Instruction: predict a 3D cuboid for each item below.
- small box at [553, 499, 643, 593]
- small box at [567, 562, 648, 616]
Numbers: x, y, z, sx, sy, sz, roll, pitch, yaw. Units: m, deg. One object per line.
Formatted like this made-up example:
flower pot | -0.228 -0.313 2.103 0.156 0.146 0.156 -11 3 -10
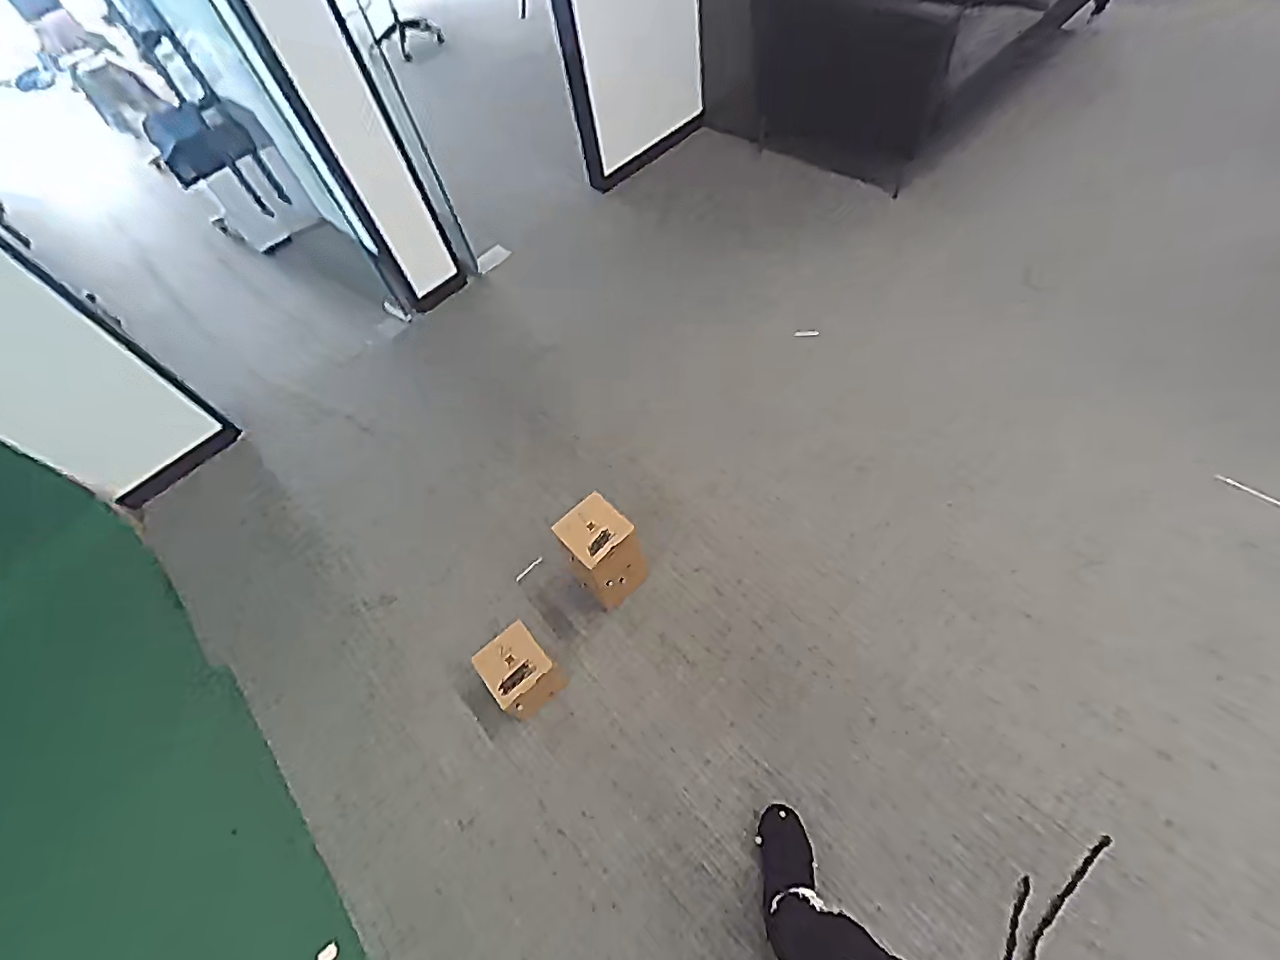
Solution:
small box | -0.109 0.193 1.514 0.168 0.176 0.179 -40 58 -17
small box | -0.092 0.284 1.650 0.179 0.176 0.168 -40 60 -18
